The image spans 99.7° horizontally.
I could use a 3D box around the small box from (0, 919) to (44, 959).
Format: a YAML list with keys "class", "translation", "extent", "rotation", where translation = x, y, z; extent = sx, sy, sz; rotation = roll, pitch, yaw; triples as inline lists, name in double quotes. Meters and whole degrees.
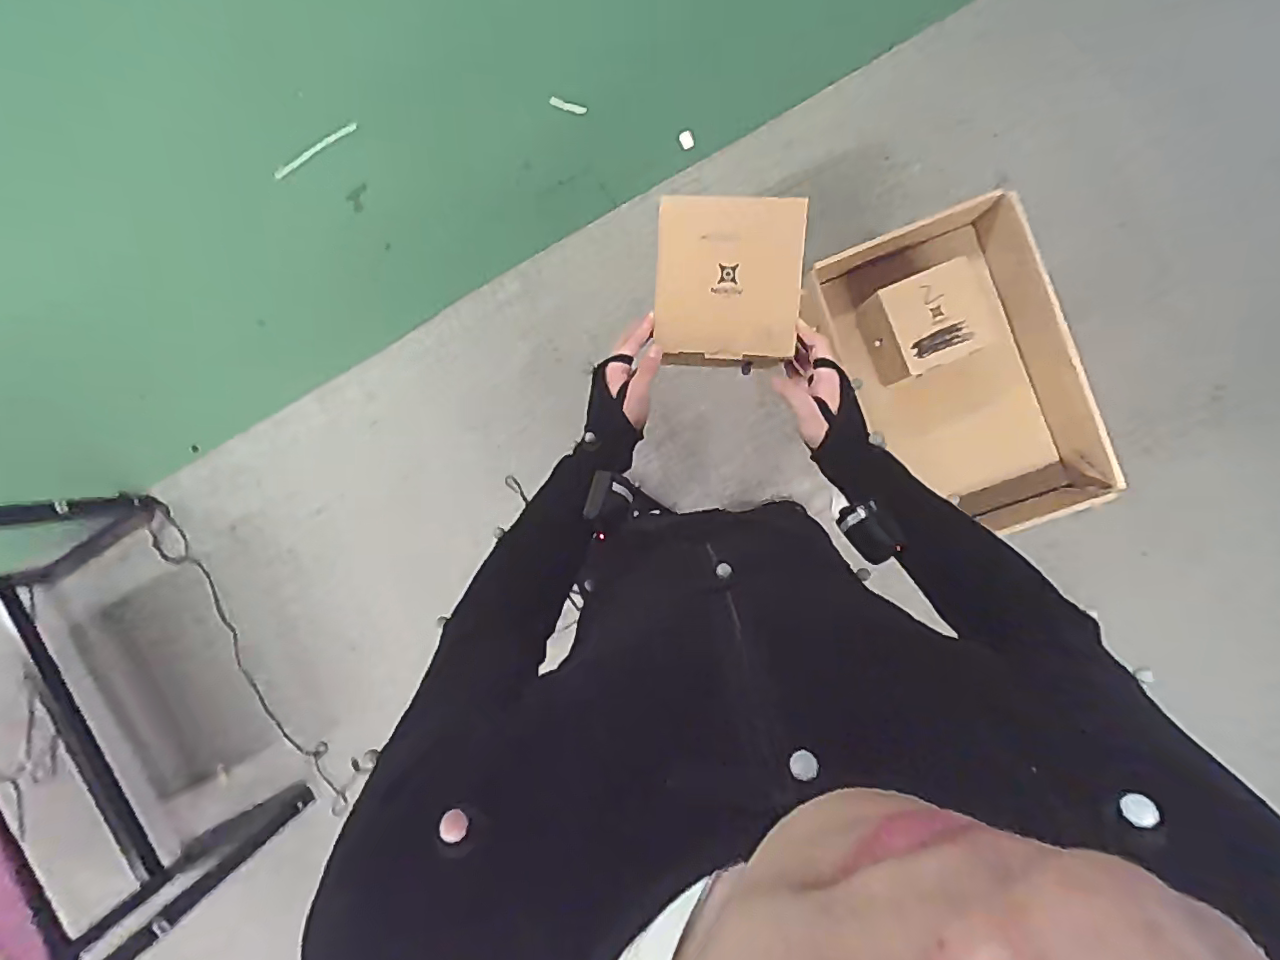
- class: "small box"
  translation: [-1.352, 1.036, 1.079]
  extent: [0.179, 0.176, 0.168]
  rotation: [-28, 89, 10]

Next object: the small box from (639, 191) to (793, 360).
- class: "small box"
  translation: [0.092, -0.248, 0.694]
  extent: [0.168, 0.176, 0.179]
  rotation: [3, 99, 5]
